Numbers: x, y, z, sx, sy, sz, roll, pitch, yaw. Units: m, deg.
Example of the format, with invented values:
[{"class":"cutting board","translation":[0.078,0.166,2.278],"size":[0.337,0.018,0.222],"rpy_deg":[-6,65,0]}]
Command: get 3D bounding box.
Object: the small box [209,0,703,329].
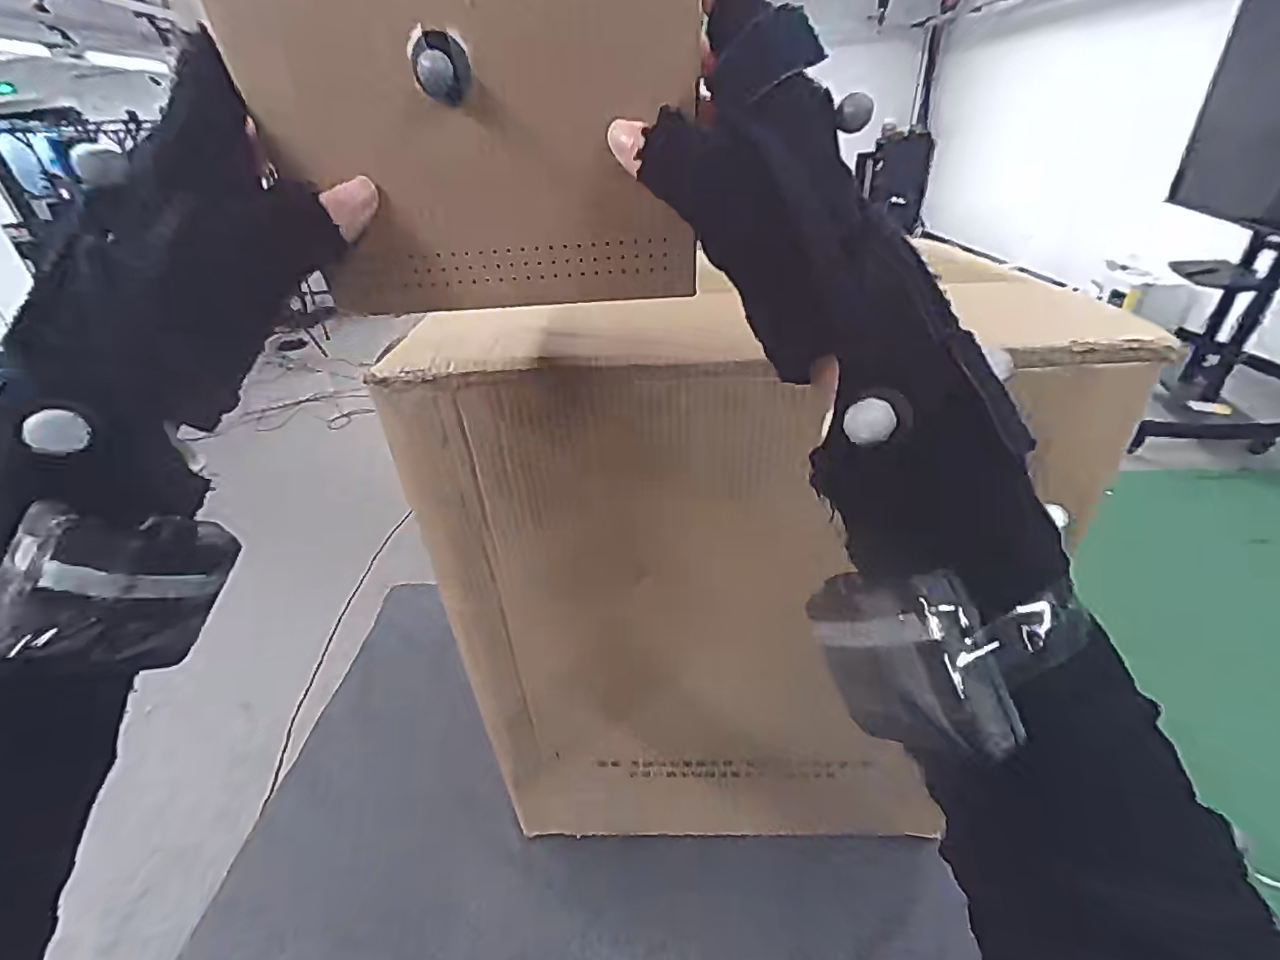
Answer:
[{"class":"small box","translation":[-0.066,-0.191,0.275],"size":[0.179,0.176,0.168],"rpy_deg":[-4,42,-2]}]
